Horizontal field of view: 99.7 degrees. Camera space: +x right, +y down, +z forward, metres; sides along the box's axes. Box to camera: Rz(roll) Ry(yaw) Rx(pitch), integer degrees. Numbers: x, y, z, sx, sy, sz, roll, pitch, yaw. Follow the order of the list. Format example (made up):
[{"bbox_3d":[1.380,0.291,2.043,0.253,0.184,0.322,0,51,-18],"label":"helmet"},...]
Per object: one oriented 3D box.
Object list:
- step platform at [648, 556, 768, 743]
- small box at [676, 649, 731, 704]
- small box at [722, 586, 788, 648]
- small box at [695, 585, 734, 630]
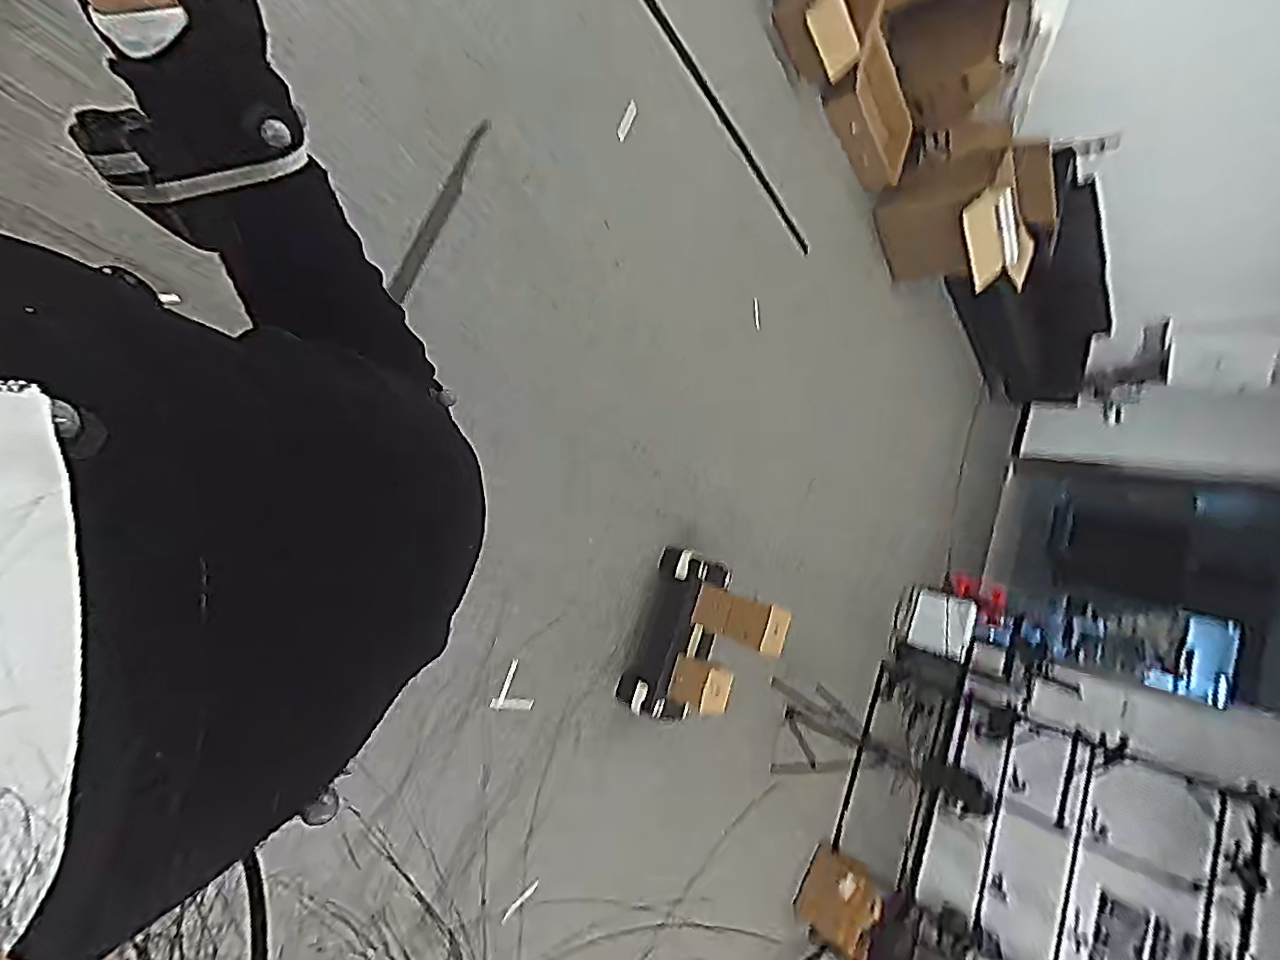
[{"bbox_3d":[0.273,0.646,2.121,0.286,0.204,0.684,28,78,-44],"label":"step platform"},{"bbox_3d":[0.230,0.776,2.150,0.179,0.176,0.168,27,77,-43],"label":"small box"},{"bbox_3d":[0.436,0.526,2.080,0.168,0.176,0.179,25,80,-45],"label":"small box"},{"bbox_3d":[0.323,0.506,2.196,0.168,0.176,0.179,26,79,-44],"label":"small box"}]
